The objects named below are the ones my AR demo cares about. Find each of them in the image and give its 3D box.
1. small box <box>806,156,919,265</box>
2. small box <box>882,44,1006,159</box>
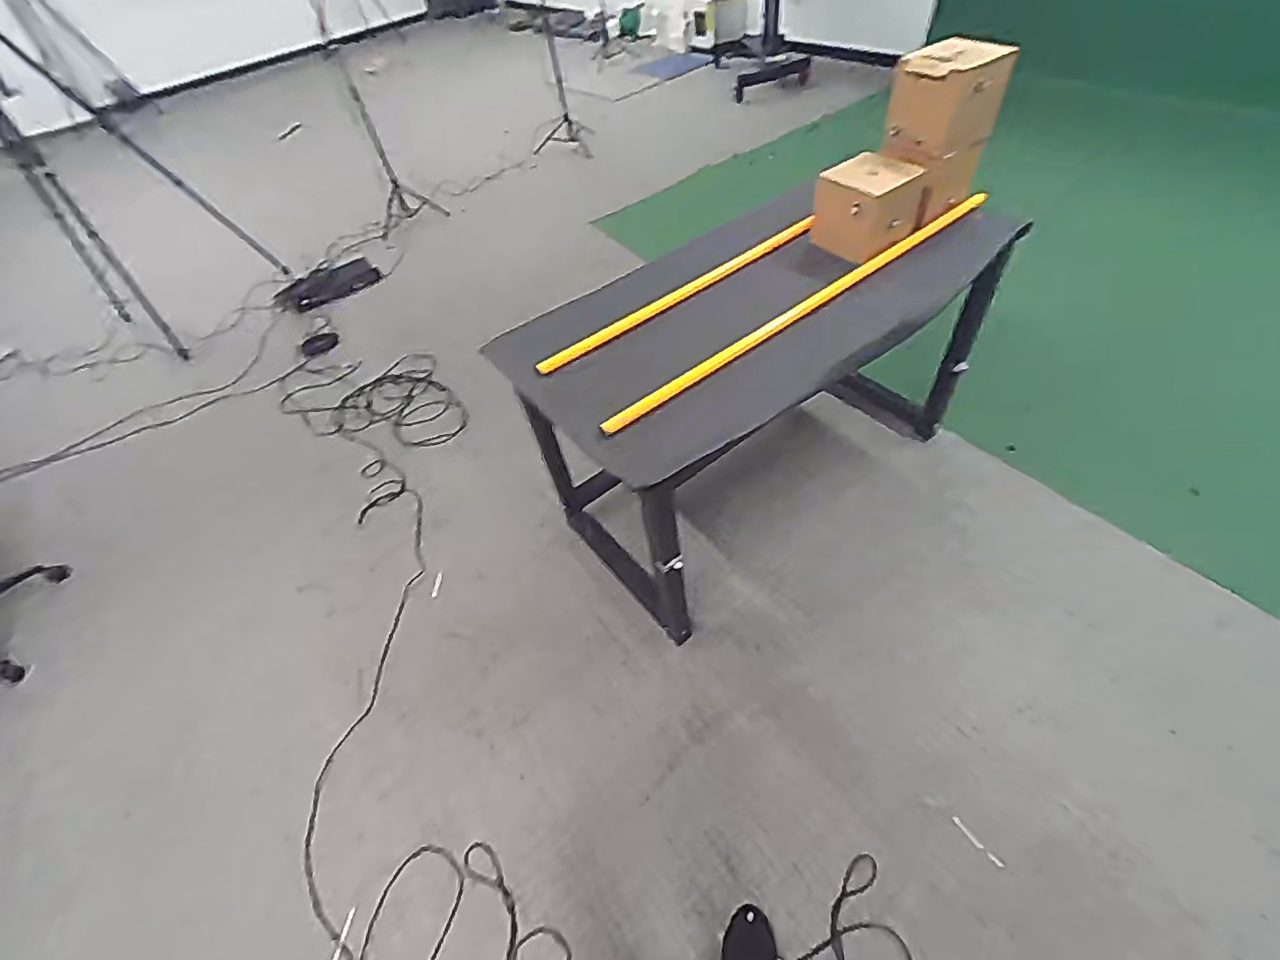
[{"bbox_3d":[0.526,-0.644,1.303,0.168,0.176,0.179,-32,53,-17],"label":"small box"},{"bbox_3d":[0.686,-0.870,1.248,0.179,0.176,0.168,-30,54,-16],"label":"small box"}]
